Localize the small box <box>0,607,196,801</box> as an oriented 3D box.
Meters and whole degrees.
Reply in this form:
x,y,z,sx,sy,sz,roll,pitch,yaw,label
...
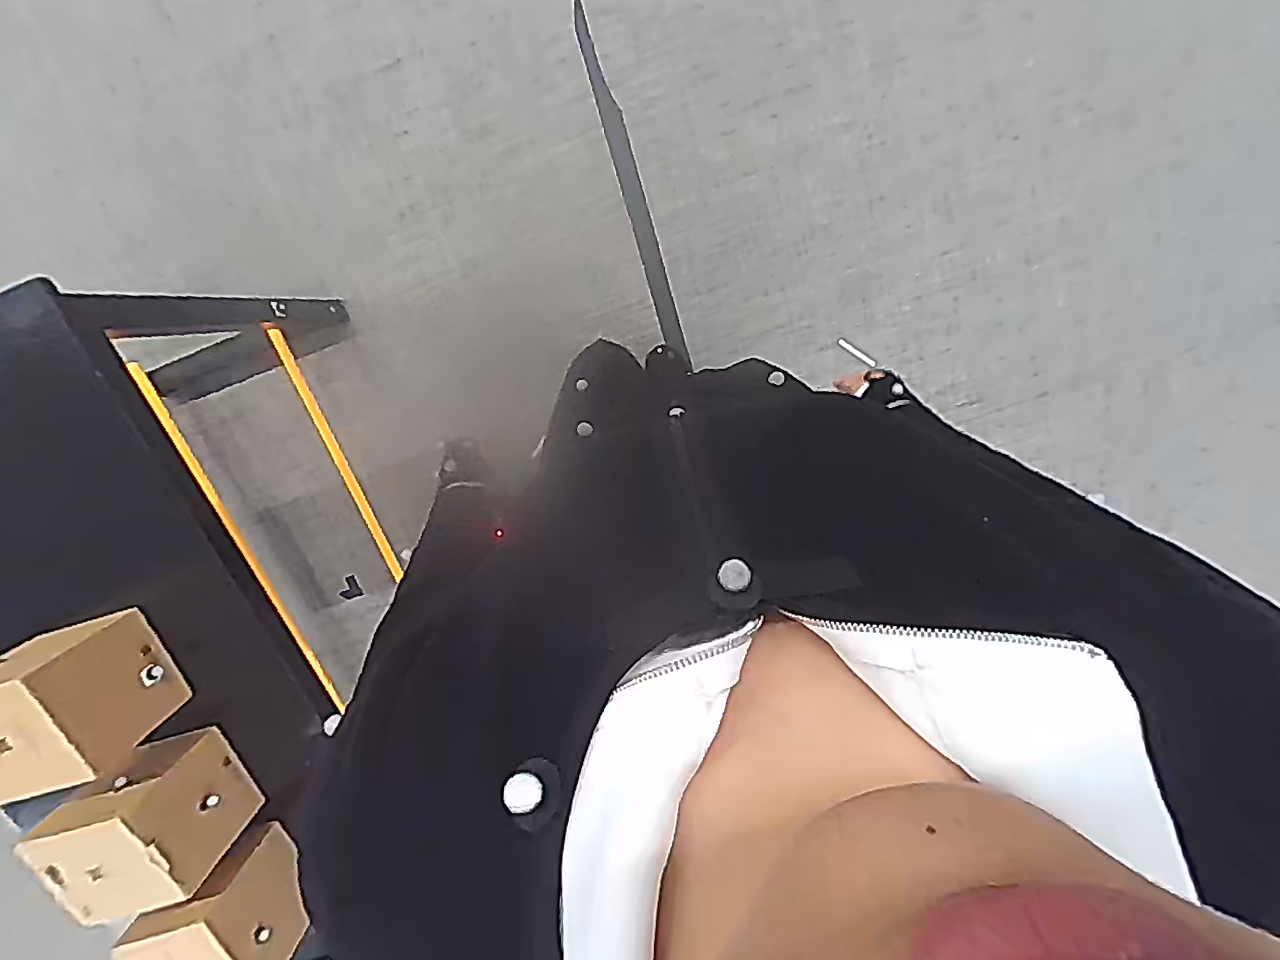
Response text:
x,y,z,sx,sy,sz,roll,pitch,yaw,label
-0.803,0.308,0.767,0.179,0.176,0.168,-17,108,5,small box

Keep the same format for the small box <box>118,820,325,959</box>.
x,y,z,sx,sy,sz,roll,pitch,yaw,label
-0.665,0.709,0.887,0.168,0.176,0.179,-20,105,6,small box

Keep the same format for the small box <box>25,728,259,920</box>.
x,y,z,sx,sy,sz,roll,pitch,yaw,label
-0.735,0.514,0.829,0.179,0.176,0.168,-18,106,5,small box
